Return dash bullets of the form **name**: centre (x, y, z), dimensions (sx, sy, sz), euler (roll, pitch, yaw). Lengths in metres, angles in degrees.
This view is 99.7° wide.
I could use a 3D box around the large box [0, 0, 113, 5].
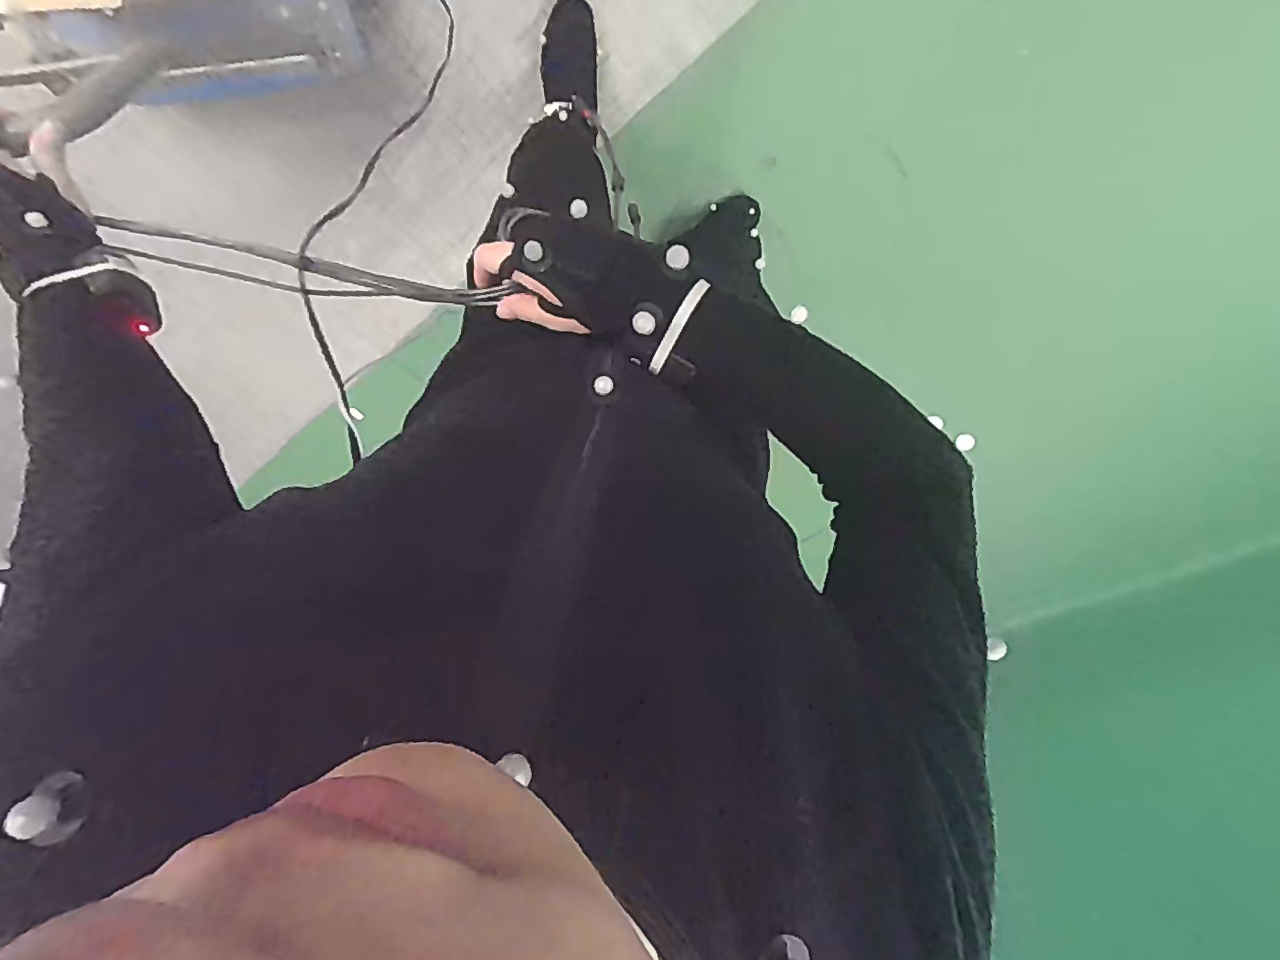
- **large box**: centre (-0.824, -0.859, 0.665), dimensions (0.320, 0.320, 0.408), euler (-2, 134, -1)
